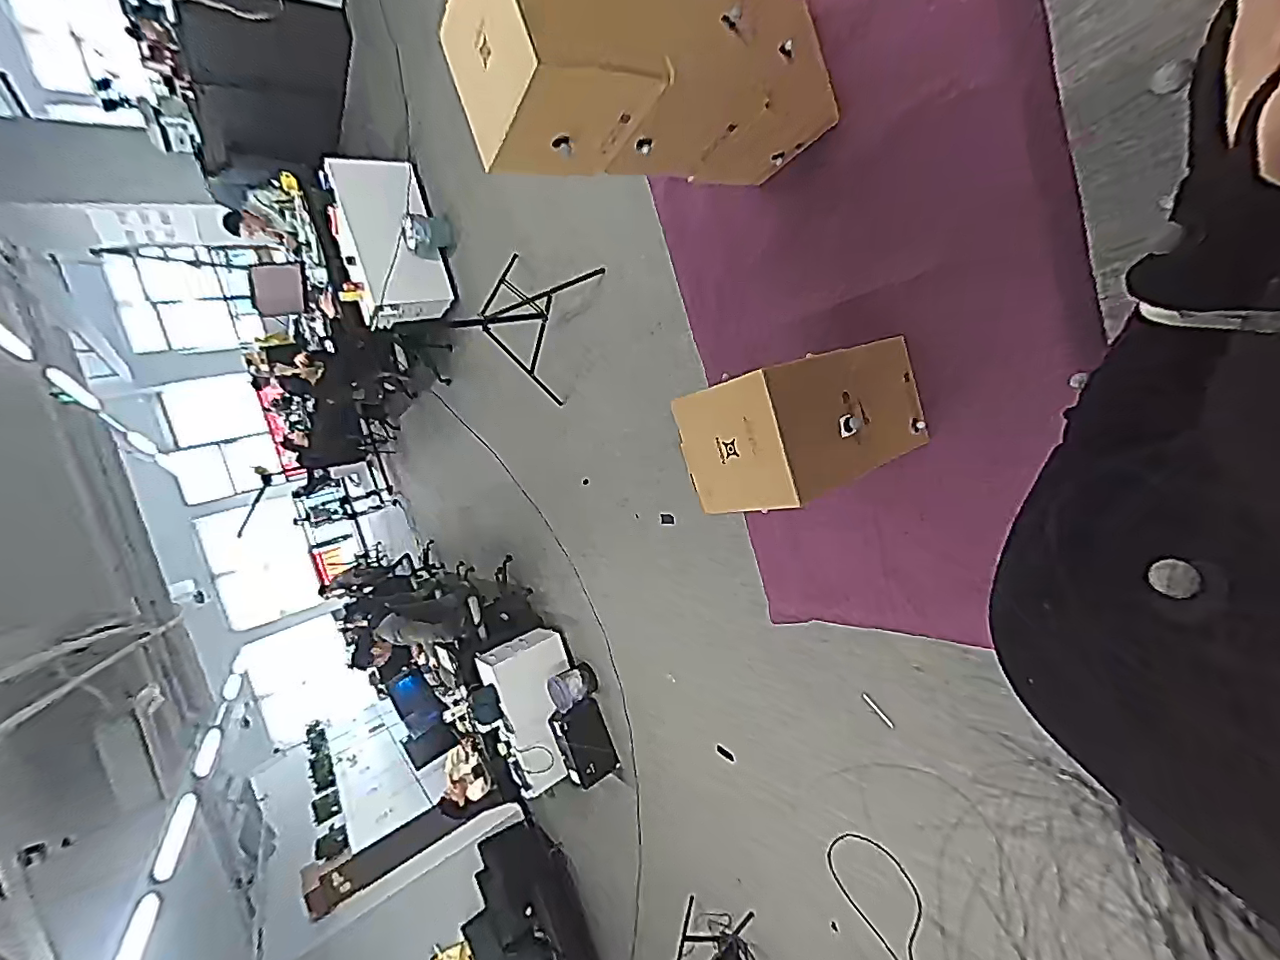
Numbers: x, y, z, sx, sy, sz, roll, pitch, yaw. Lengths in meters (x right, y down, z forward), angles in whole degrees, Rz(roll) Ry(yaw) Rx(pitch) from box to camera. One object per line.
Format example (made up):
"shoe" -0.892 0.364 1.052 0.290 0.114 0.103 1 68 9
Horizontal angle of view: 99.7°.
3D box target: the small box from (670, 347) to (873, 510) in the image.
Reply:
"small box" 0.173 -0.066 0.721 0.179 0.176 0.168 -12 97 55

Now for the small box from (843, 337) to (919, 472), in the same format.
"small box" 0.295 -0.107 0.820 0.179 0.176 0.168 -10 97 57

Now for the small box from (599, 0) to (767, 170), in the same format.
"small box" 0.030 -0.526 0.692 0.168 0.176 0.179 -19 90 57

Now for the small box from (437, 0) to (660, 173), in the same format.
"small box" -0.103 -0.479 0.609 0.168 0.176 0.179 -18 92 57
